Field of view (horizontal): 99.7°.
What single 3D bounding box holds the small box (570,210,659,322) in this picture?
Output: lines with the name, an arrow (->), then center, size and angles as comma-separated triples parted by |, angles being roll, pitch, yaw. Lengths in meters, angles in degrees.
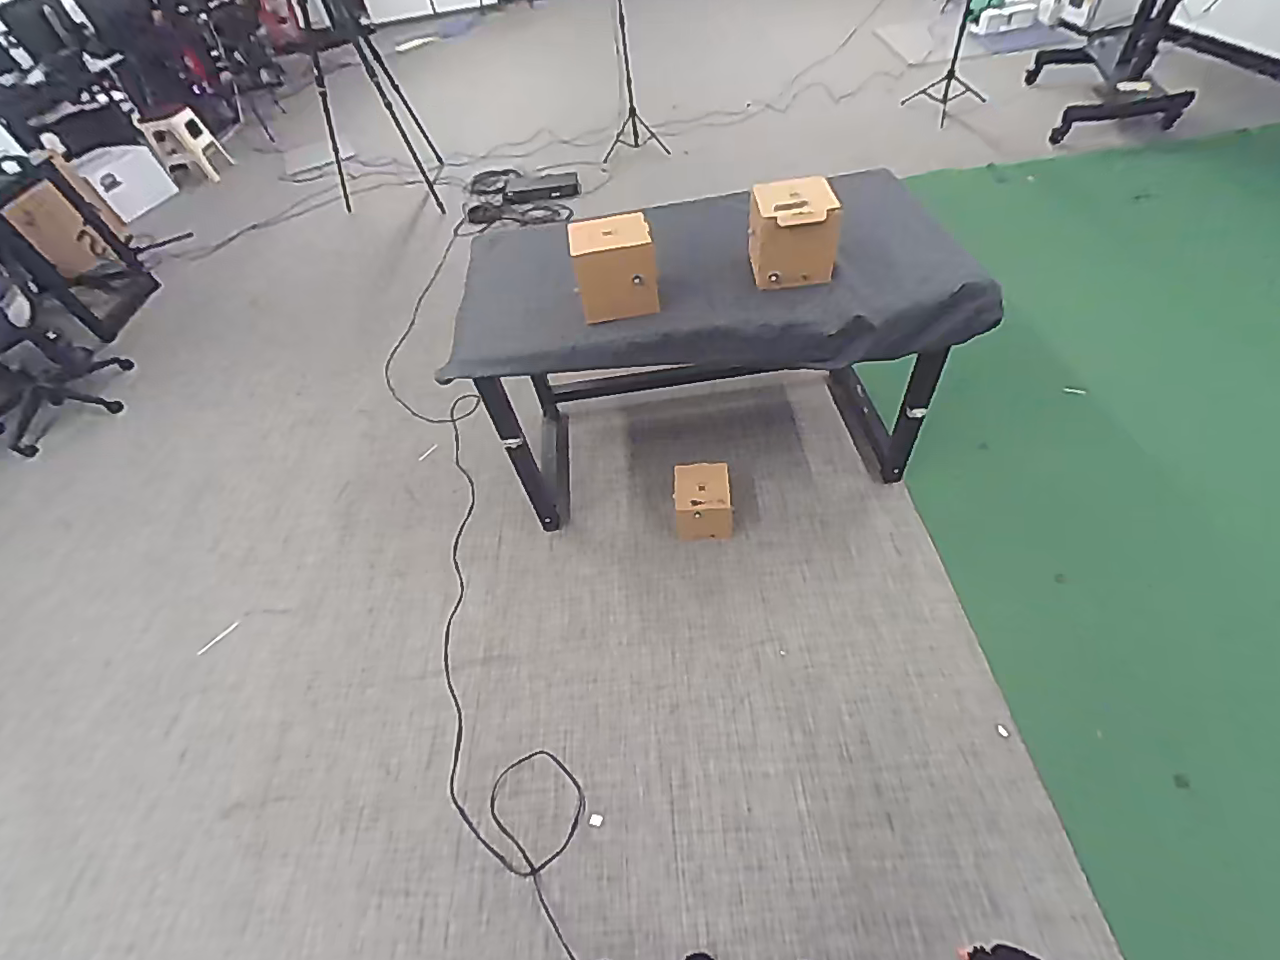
small box -> -0.055, -0.489, 1.245 | 0.179, 0.176, 0.168 | -11, 48, 1

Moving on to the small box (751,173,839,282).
small box -> 0.348, -0.573, 1.243 | 0.168, 0.176, 0.179 | -5, 50, 6
